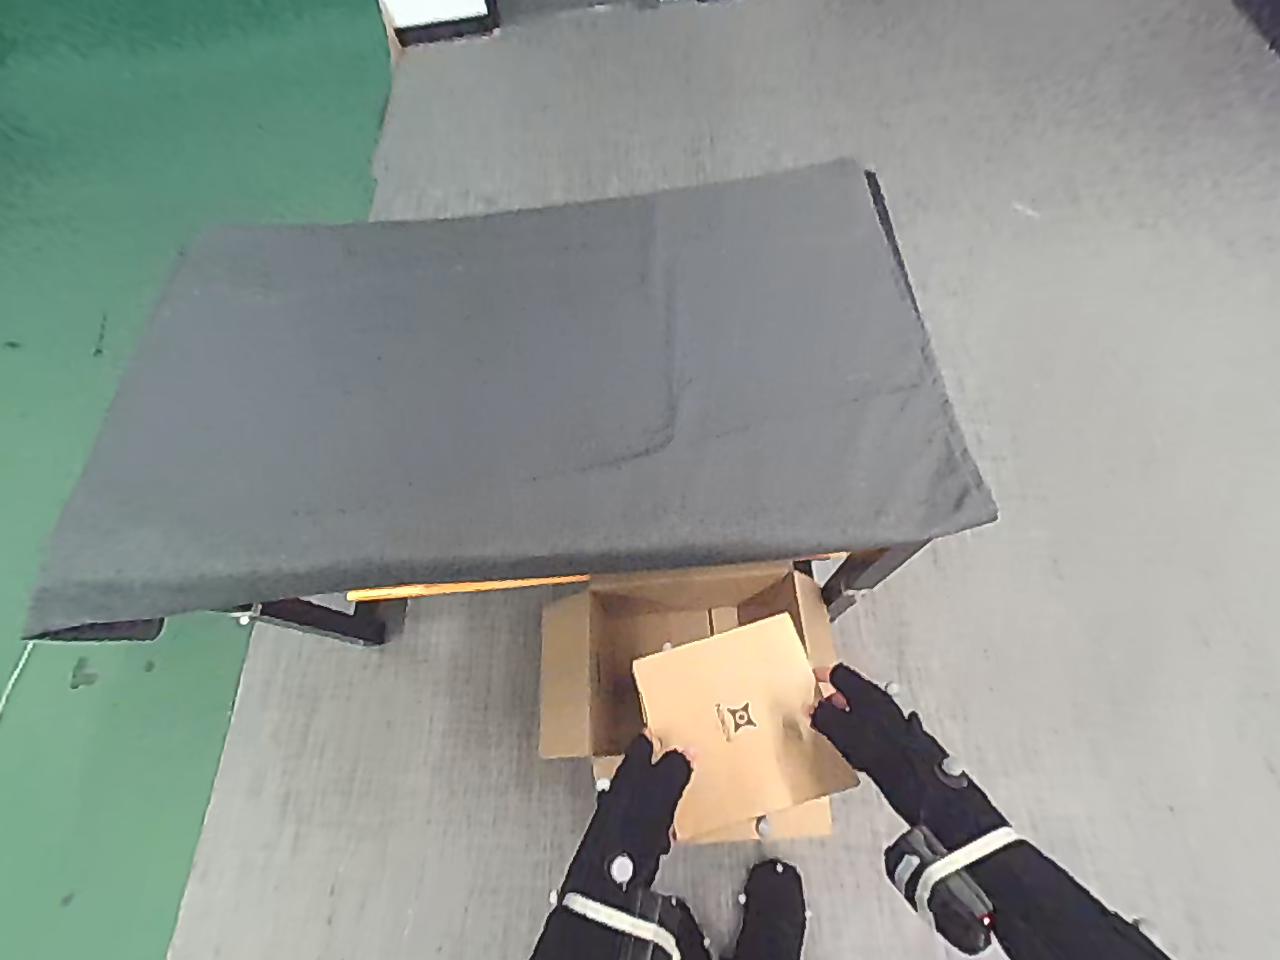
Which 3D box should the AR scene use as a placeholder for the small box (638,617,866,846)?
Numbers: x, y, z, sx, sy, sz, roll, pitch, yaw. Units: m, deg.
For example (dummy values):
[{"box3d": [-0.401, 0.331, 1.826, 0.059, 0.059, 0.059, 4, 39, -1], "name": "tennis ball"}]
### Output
[{"box3d": [0.112, 0.271, 0.588, 0.179, 0.176, 0.168, -19, 59, 0], "name": "small box"}]
